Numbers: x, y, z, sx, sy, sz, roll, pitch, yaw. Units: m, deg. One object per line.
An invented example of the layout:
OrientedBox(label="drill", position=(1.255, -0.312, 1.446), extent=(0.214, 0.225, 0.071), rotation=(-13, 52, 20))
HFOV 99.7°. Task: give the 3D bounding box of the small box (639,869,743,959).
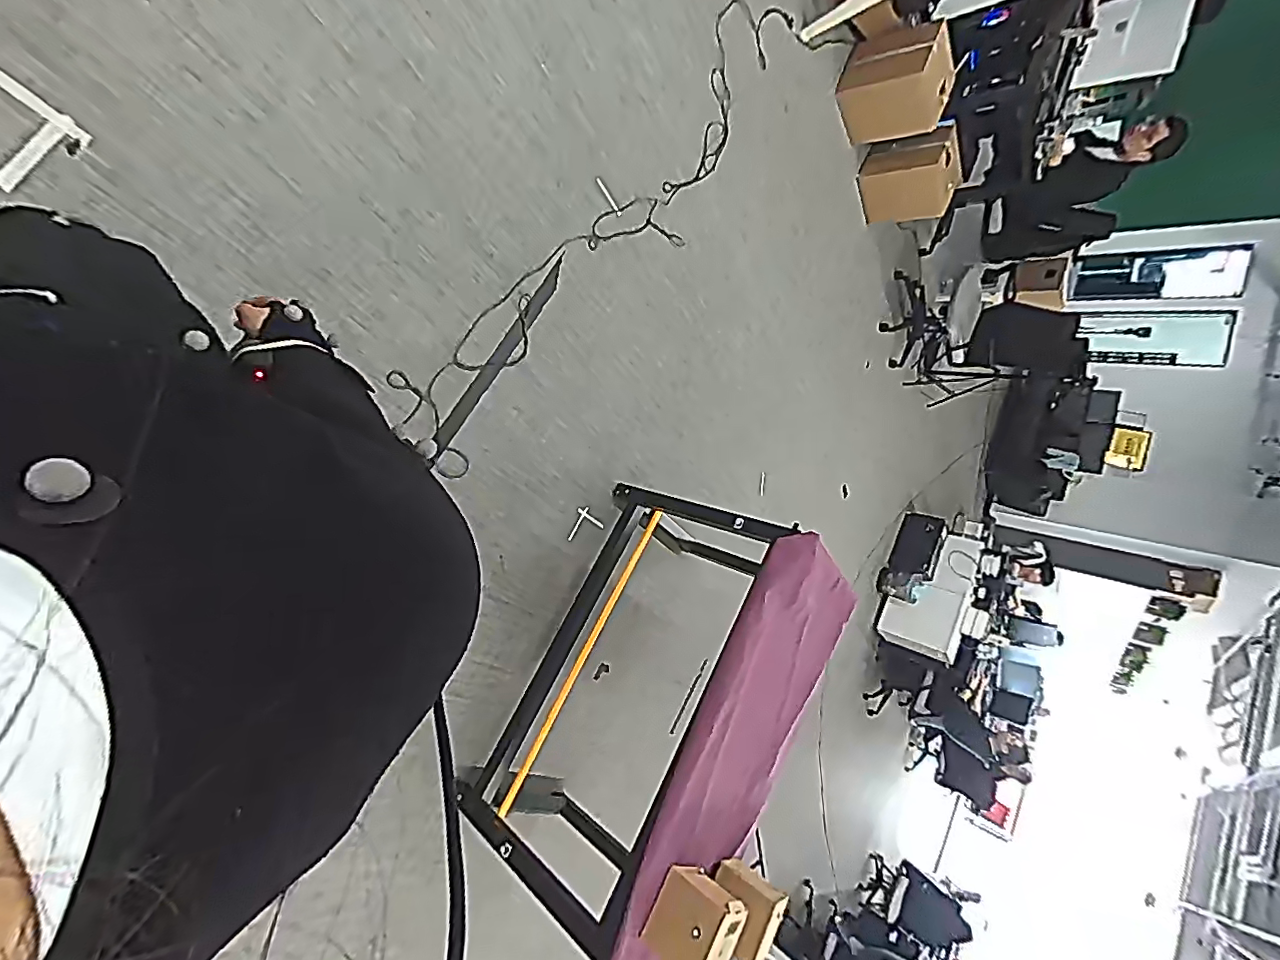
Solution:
OrientedBox(label="small box", position=(0.126, 1.109, 1.349), extent=(0.179, 0.176, 0.168), rotation=(-60, 138, -17))
